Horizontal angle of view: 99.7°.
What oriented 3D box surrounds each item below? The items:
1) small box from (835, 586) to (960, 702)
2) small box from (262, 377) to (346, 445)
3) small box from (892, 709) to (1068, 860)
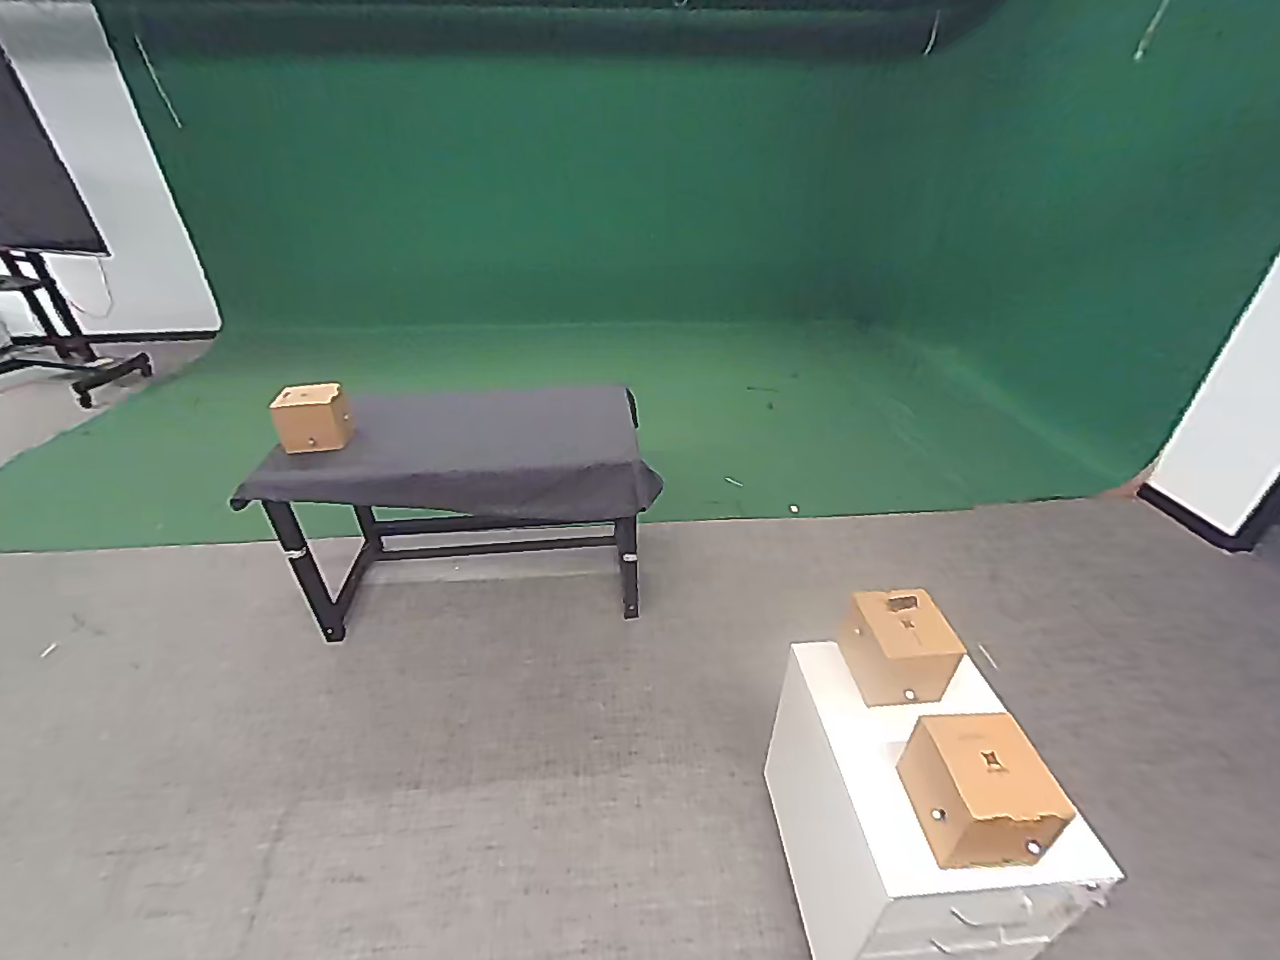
[{"bbox_3d":[0.543,0.354,1.172,0.168,0.176,0.179,-2,36,-4],"label":"small box"},{"bbox_3d":[-1.090,-0.227,1.774,0.179,0.176,0.168,-5,33,-12],"label":"small box"},{"bbox_3d":[0.564,0.522,0.926,0.168,0.176,0.179,0,32,-4],"label":"small box"}]
